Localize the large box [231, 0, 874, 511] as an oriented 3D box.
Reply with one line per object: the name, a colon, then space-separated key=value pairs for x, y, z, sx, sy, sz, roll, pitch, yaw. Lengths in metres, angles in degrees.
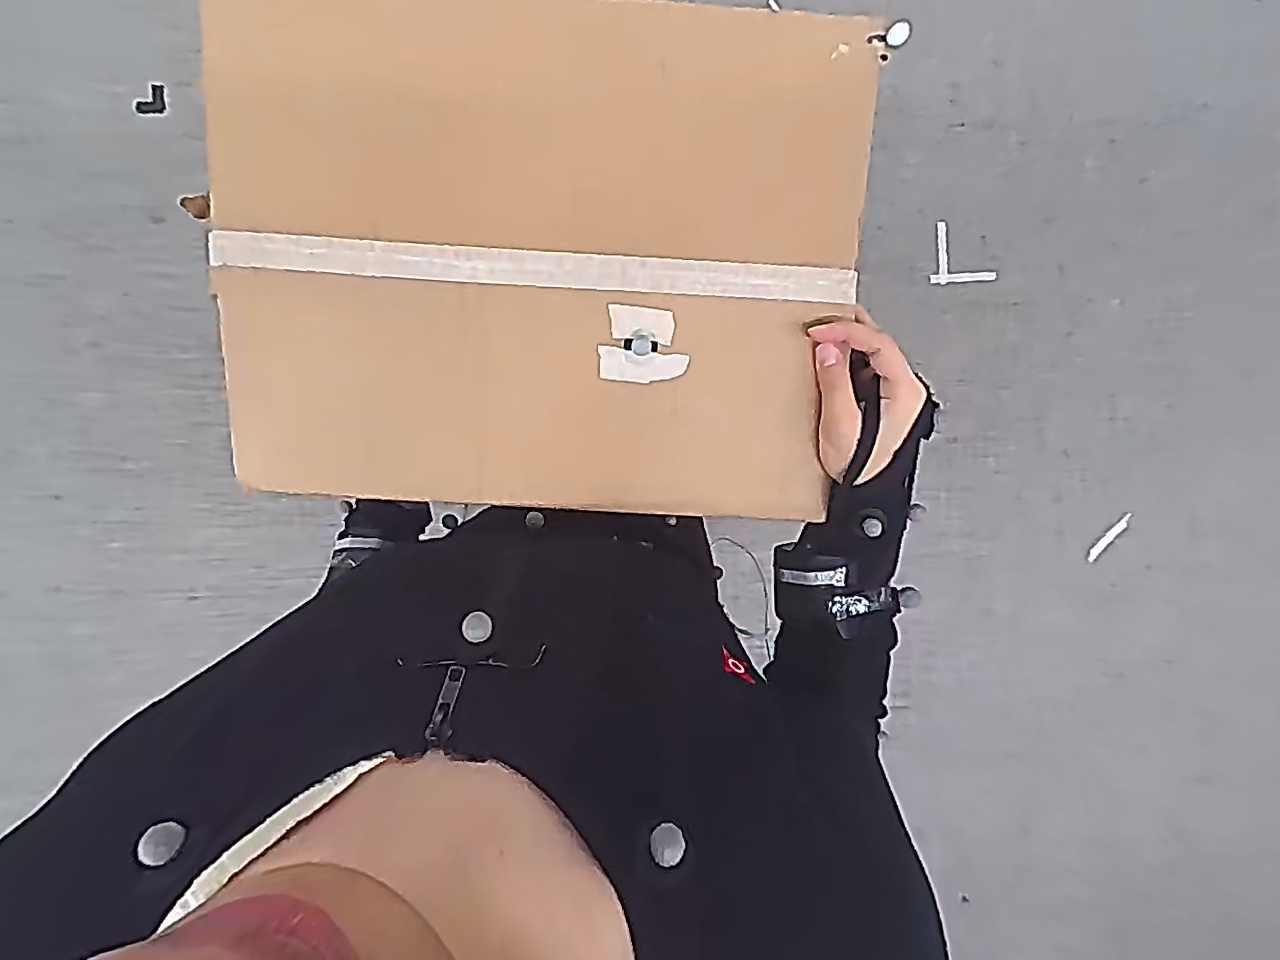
large box: x=-0.062 y=-0.158 z=0.502 sx=0.408 sy=0.320 sz=0.320 roll=3 pitch=100 yaw=-3
